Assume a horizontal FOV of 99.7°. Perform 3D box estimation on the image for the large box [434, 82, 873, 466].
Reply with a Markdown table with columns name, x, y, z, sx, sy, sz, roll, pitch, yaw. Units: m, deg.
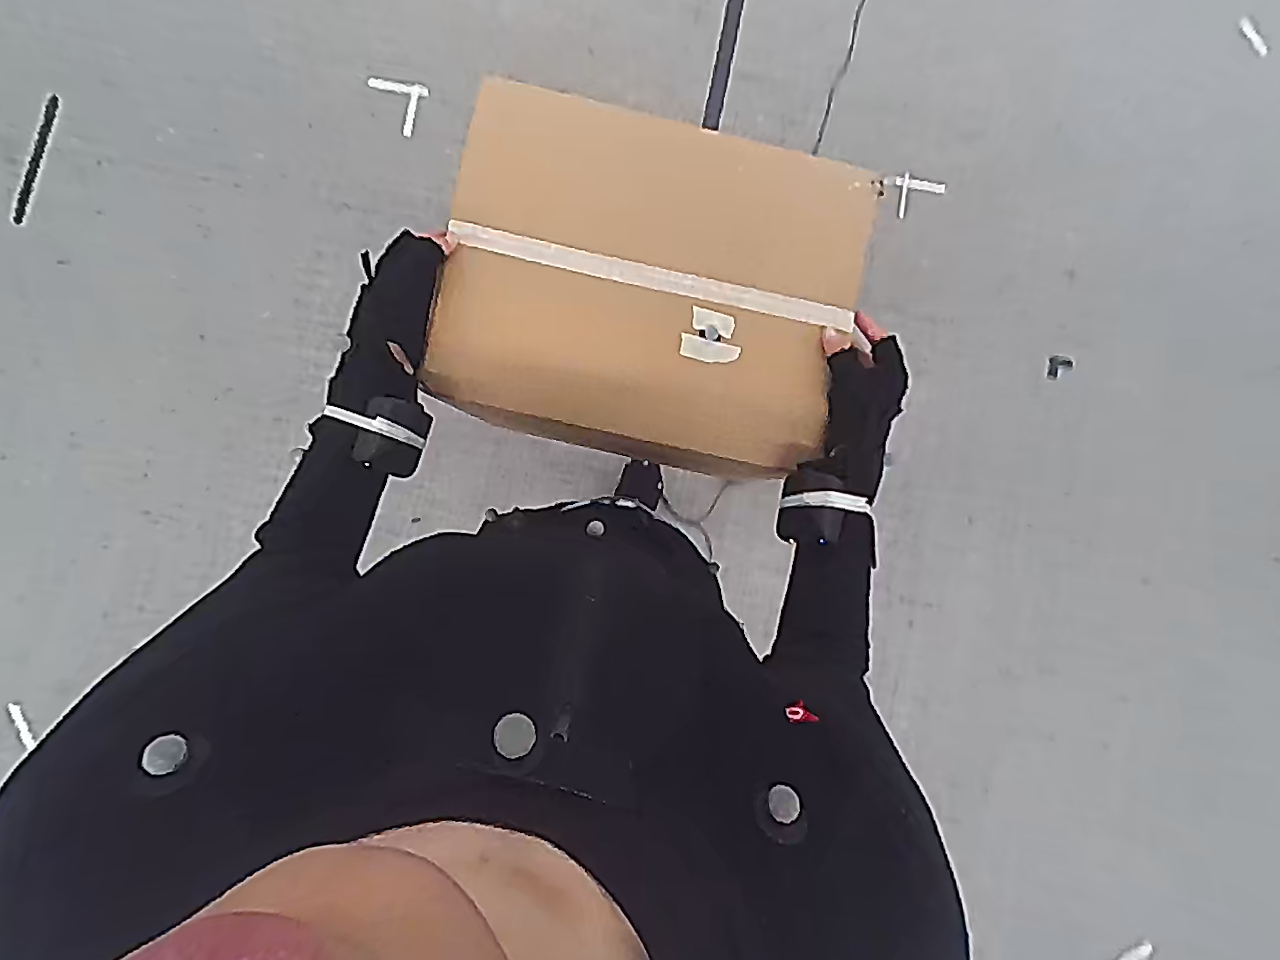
| name | x | y | z | sx | sy | sz | roll | pitch | yaw |
| --- | --- | --- | --- | --- | --- | --- | --- | --- | --- |
| large box | 0.009 | -0.210 | 0.693 | 0.408 | 0.320 | 0.320 | 12 | 90 | -3 |
